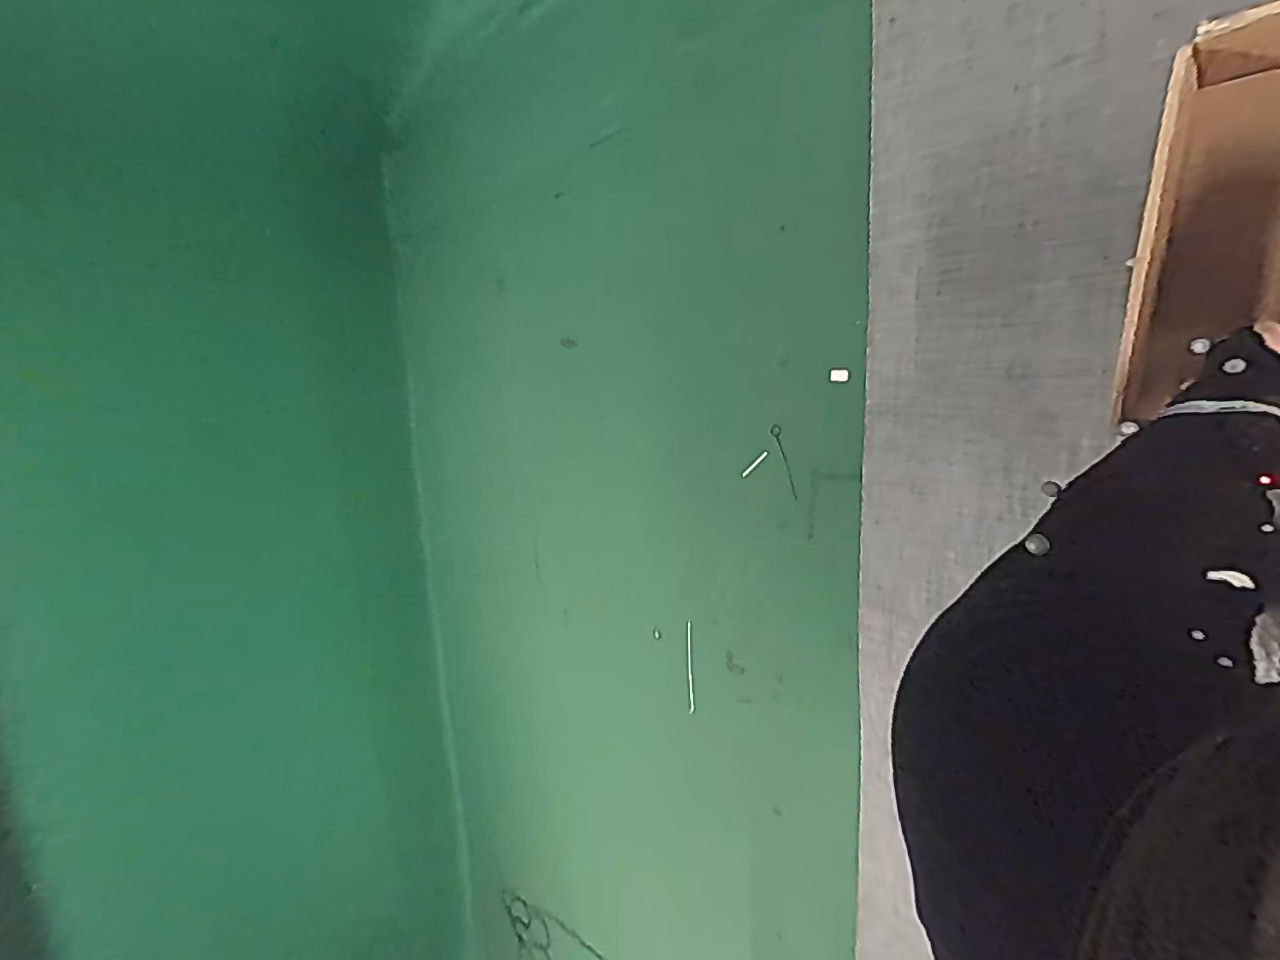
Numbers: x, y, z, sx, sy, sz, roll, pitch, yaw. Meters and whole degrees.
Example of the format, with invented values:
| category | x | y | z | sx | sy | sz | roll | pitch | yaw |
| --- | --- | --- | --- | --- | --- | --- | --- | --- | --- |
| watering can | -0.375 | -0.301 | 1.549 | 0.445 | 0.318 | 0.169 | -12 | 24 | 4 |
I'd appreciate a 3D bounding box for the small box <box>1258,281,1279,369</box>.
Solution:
| category | x | y | z | sx | sy | sz | roll | pitch | yaw |
| --- | --- | --- | --- | --- | --- | --- | --- | --- | --- |
| small box | 0.663 | -0.196 | 0.439 | 0.168 | 0.176 | 0.179 | 20 | 86 | 40 |
